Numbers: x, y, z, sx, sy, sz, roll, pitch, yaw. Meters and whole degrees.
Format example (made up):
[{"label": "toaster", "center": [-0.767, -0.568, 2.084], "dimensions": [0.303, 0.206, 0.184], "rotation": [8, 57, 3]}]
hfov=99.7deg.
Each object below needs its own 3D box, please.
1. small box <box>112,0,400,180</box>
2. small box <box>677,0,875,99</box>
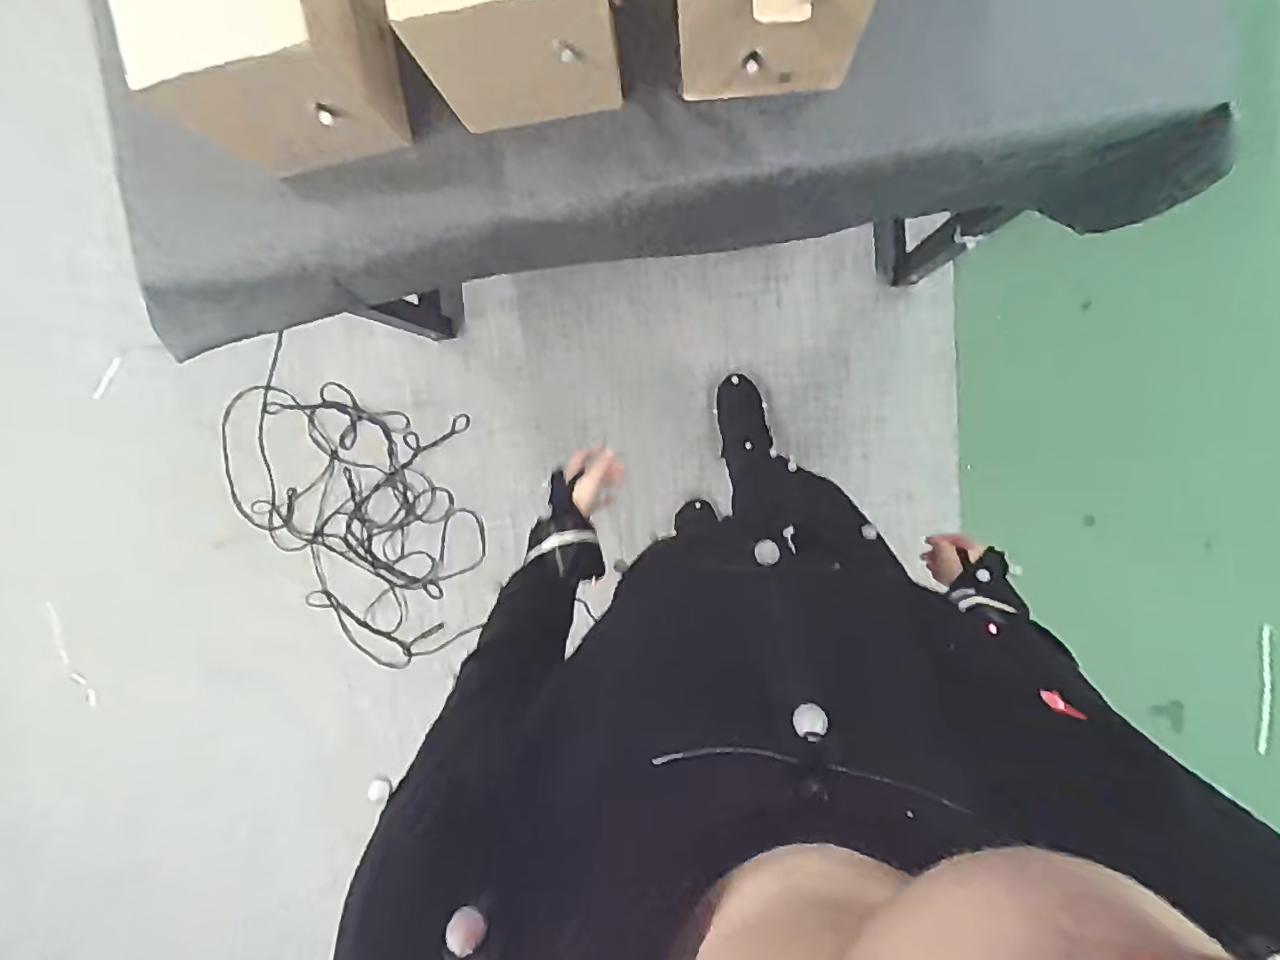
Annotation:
[{"label": "small box", "center": [-0.363, -0.434, 0.537], "dimensions": [0.179, 0.176, 0.168], "rotation": [-10, 93, 7]}, {"label": "small box", "center": [0.117, -0.486, 0.484], "dimensions": [0.168, 0.176, 0.179], "rotation": [-1, 95, 5]}]
